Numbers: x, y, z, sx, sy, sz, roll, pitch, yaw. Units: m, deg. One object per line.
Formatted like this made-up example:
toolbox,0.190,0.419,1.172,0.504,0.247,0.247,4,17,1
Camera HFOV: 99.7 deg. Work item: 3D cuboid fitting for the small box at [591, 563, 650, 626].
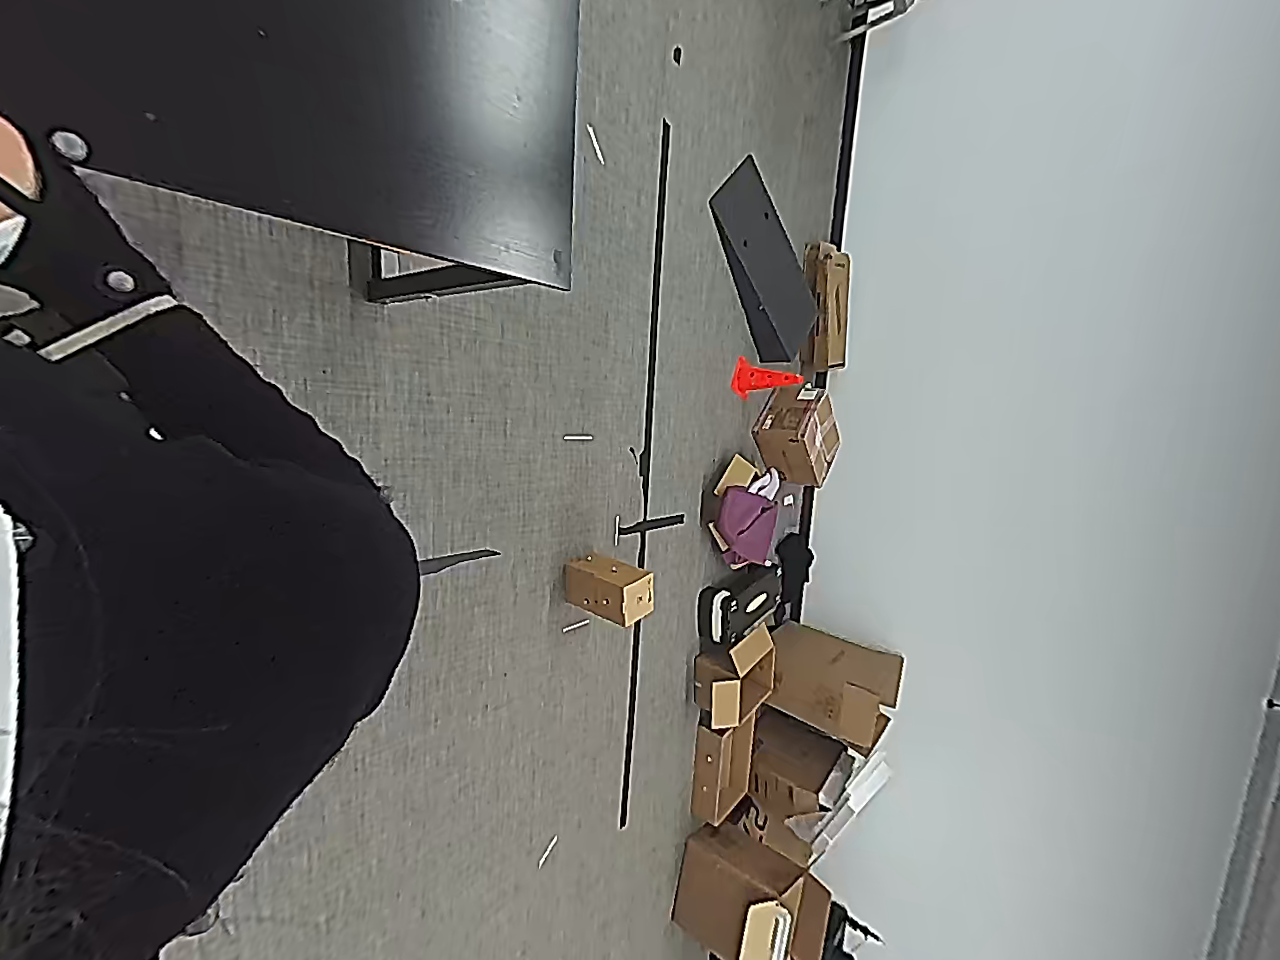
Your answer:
small box,-0.079,0.439,2.099,0.179,0.176,0.168,-17,111,-48

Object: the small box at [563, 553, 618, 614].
small box,-0.200,0.417,2.207,0.168,0.176,0.179,-15,110,-49
